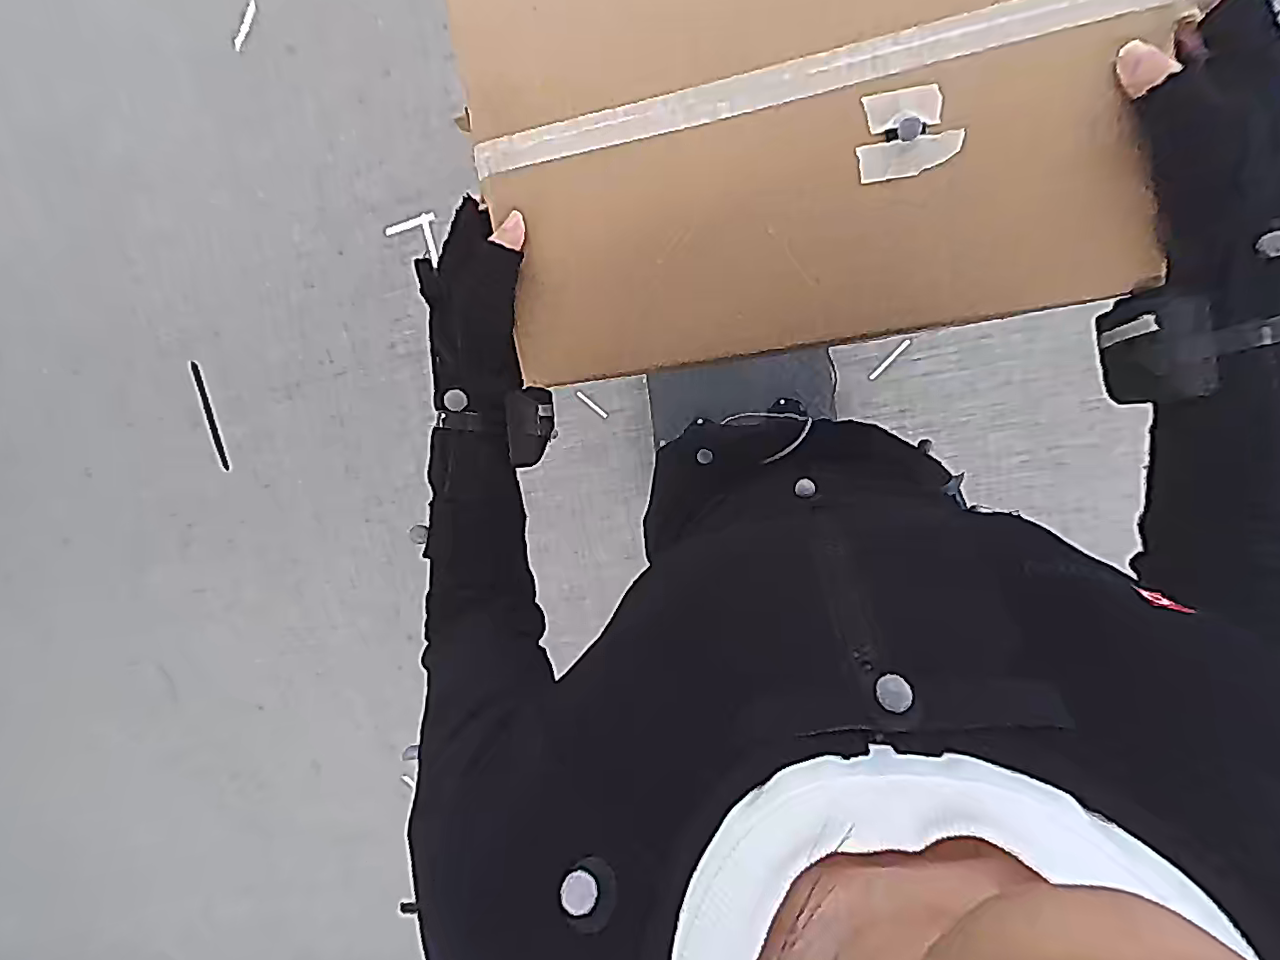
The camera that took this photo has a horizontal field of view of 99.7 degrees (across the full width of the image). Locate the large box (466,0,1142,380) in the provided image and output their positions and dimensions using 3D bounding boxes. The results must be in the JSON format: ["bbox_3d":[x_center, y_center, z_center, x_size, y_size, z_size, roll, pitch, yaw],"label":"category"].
[{"bbox_3d":[0.115,-0.278,0.490,0.408,0.320,0.320,-7,101,11],"label":"large box"}]
